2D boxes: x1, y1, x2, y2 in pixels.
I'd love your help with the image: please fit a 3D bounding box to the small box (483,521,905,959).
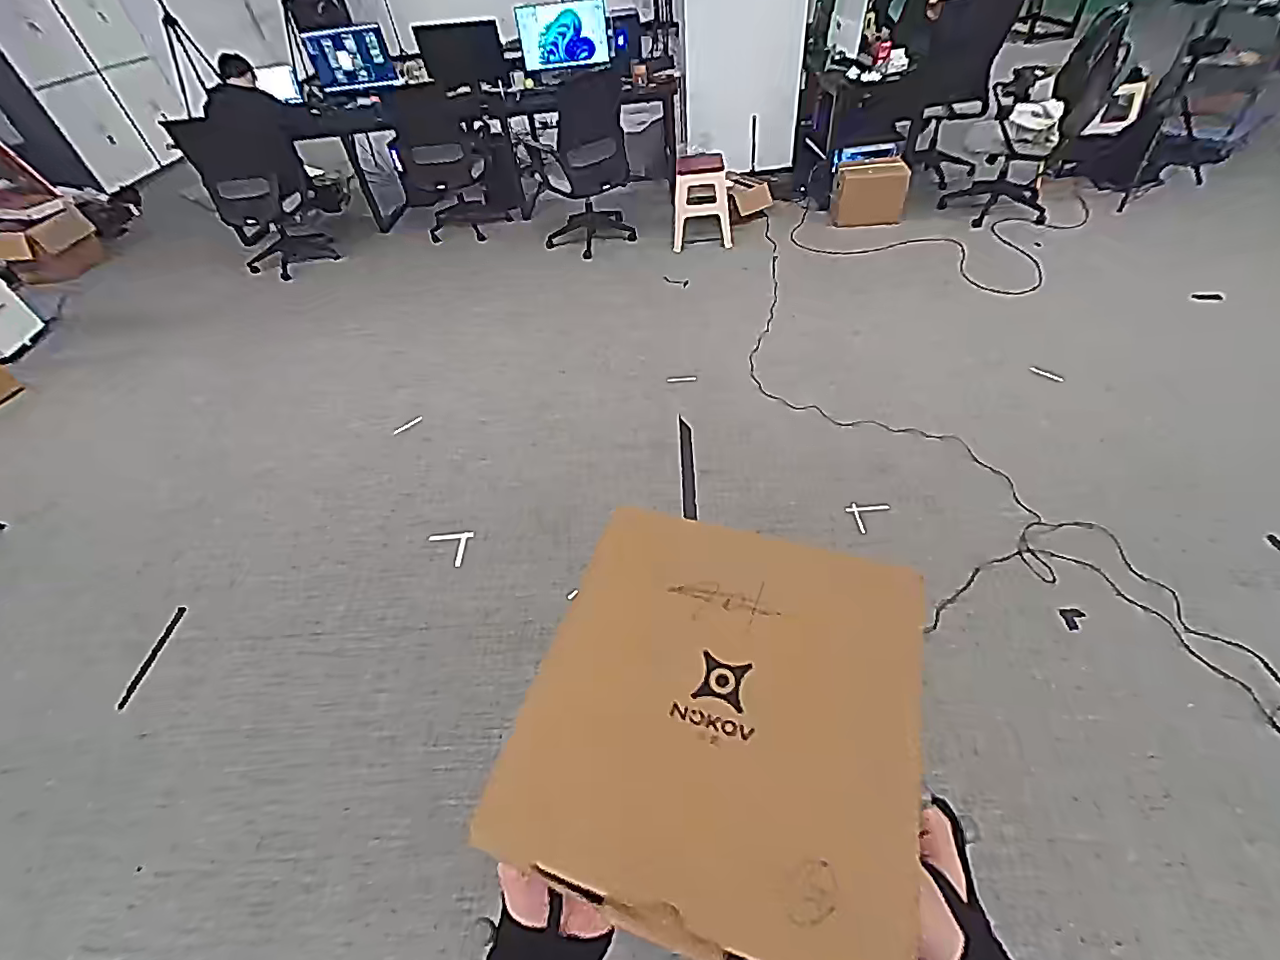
[{"bbox_3d":[0.042,0.155,0.313,0.168,0.176,0.179,11,50,14],"label":"small box"}]
